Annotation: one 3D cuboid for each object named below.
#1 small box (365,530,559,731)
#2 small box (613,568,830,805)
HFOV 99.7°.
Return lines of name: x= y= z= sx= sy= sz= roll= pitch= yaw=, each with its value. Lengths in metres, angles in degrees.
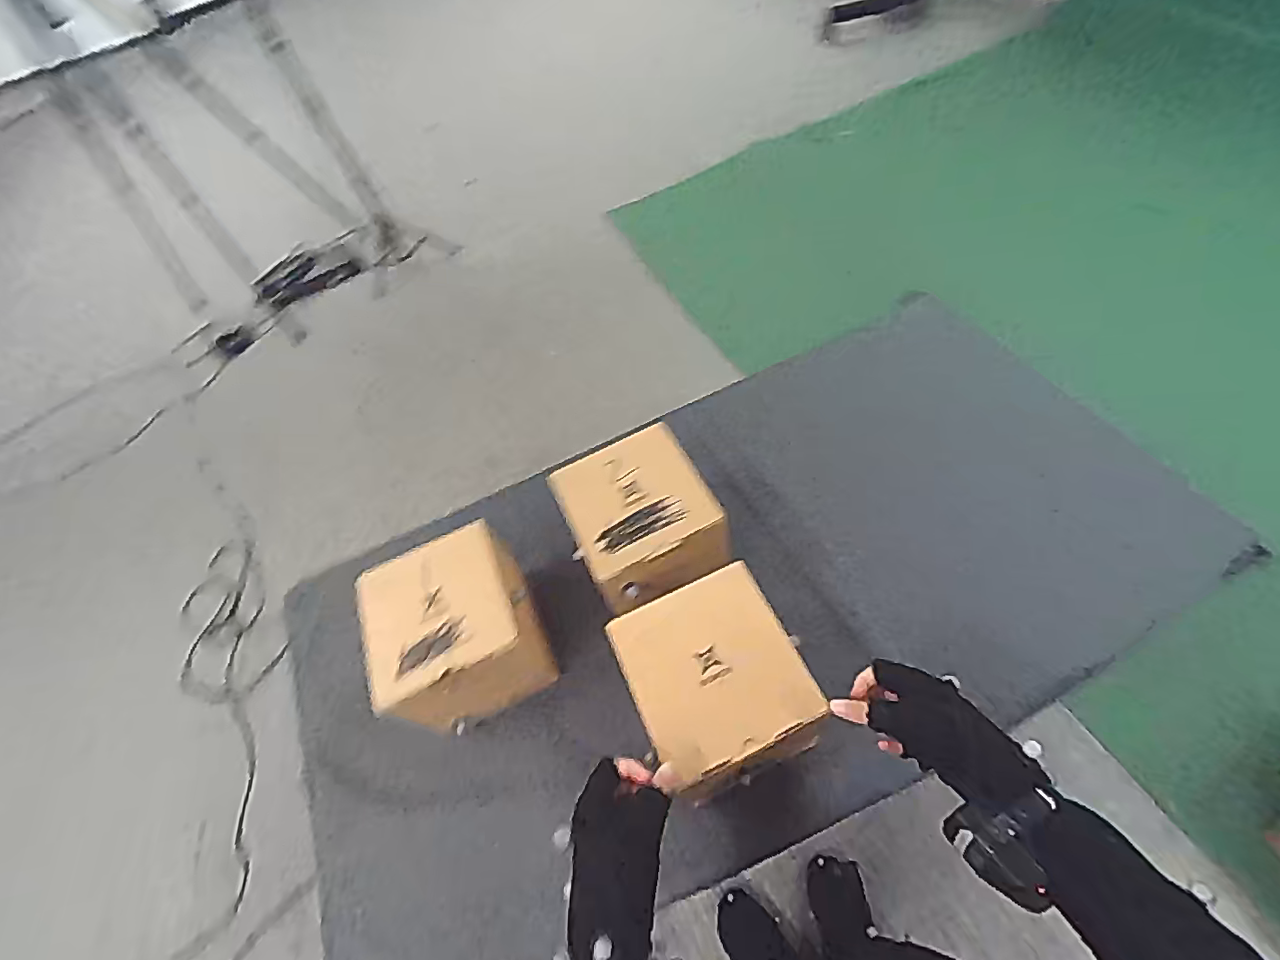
small box: x=-0.222 y=0.202 z=0.698 sx=0.168 sy=0.176 sz=0.179 roll=-25 pitch=54 yaw=-7
small box: x=0.087 y=0.237 z=0.613 sx=0.168 sy=0.176 sz=0.179 roll=-25 pitch=54 yaw=-6
